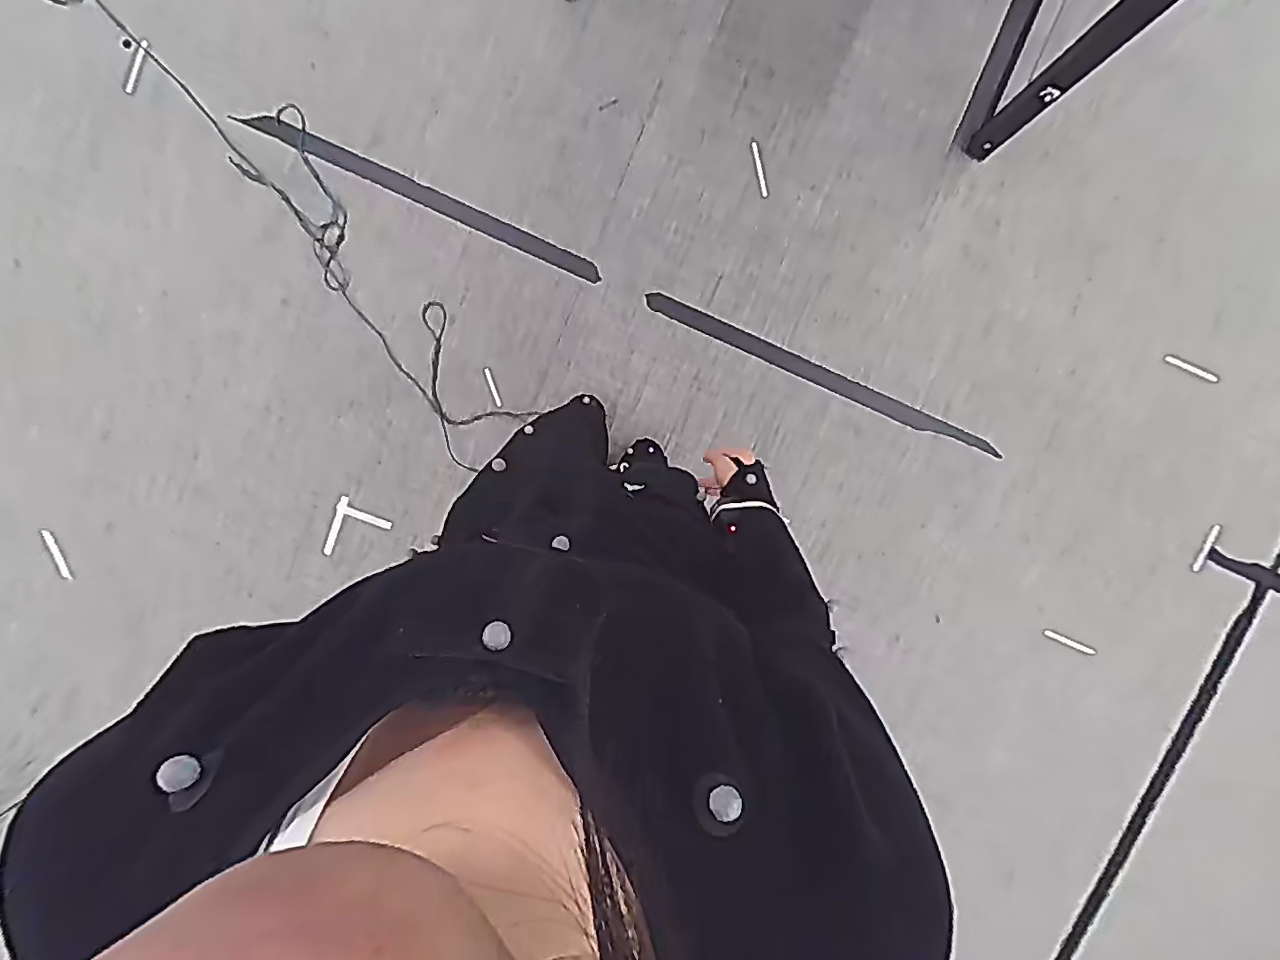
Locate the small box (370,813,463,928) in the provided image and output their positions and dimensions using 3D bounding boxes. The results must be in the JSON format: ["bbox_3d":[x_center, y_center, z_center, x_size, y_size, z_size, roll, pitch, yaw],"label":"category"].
[{"bbox_3d":[-0.603,1.059,1.480,0.168,0.176,0.179,16,94,-1],"label":"small box"}]
